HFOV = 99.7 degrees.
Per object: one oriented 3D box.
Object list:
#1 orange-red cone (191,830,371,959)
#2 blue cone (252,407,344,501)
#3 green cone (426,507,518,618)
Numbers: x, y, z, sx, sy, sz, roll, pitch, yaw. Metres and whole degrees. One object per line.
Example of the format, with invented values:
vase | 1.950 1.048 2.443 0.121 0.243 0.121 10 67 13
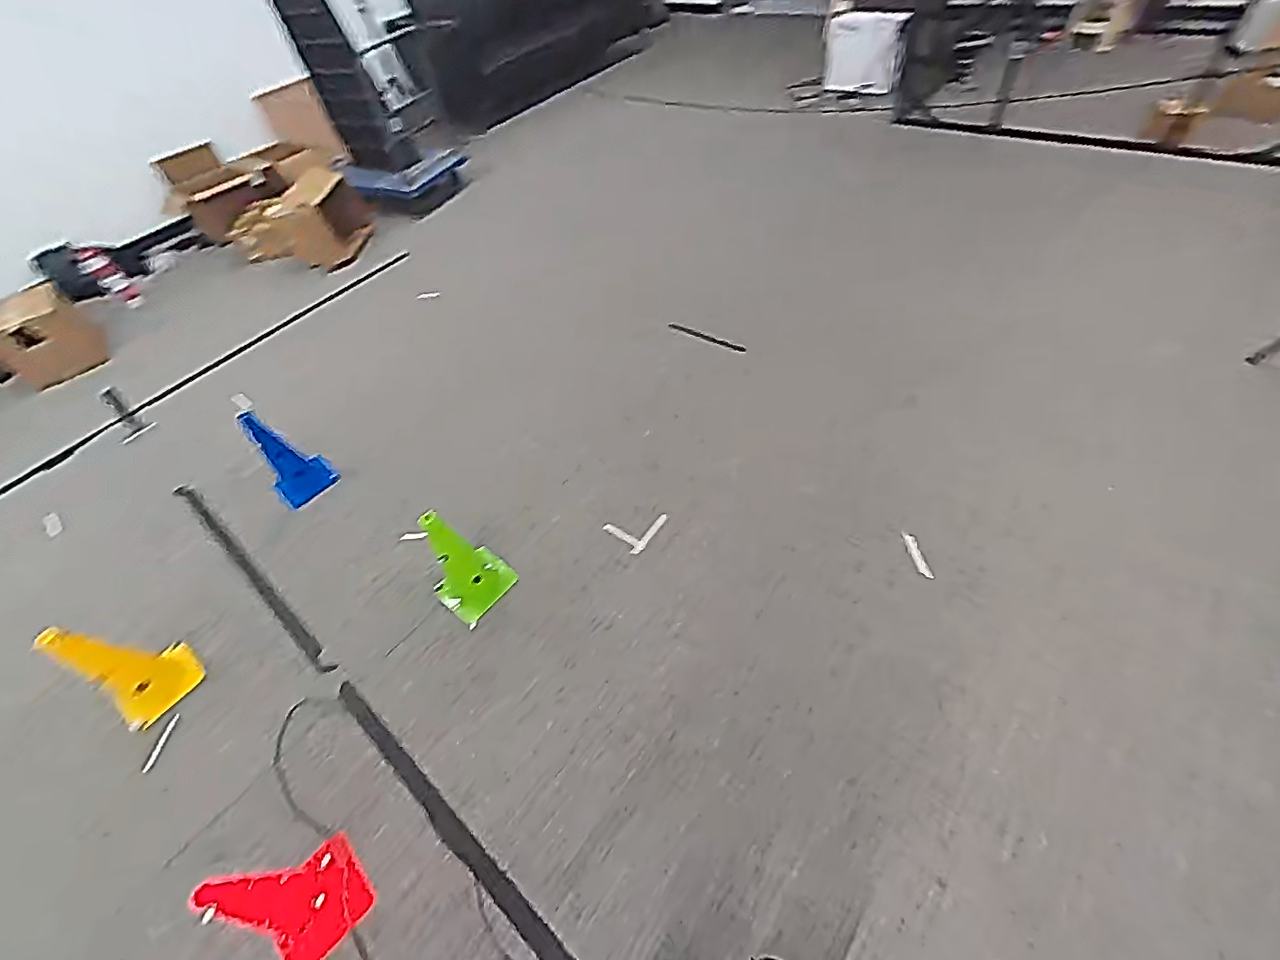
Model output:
orange-red cone | -0.749 0.828 1.085 0.198 0.360 0.199 34 64 33
blue cone | -1.285 -0.113 1.971 0.193 0.380 0.192 34 62 31
green cone | -0.527 0.205 1.560 0.200 0.368 0.202 30 60 29
